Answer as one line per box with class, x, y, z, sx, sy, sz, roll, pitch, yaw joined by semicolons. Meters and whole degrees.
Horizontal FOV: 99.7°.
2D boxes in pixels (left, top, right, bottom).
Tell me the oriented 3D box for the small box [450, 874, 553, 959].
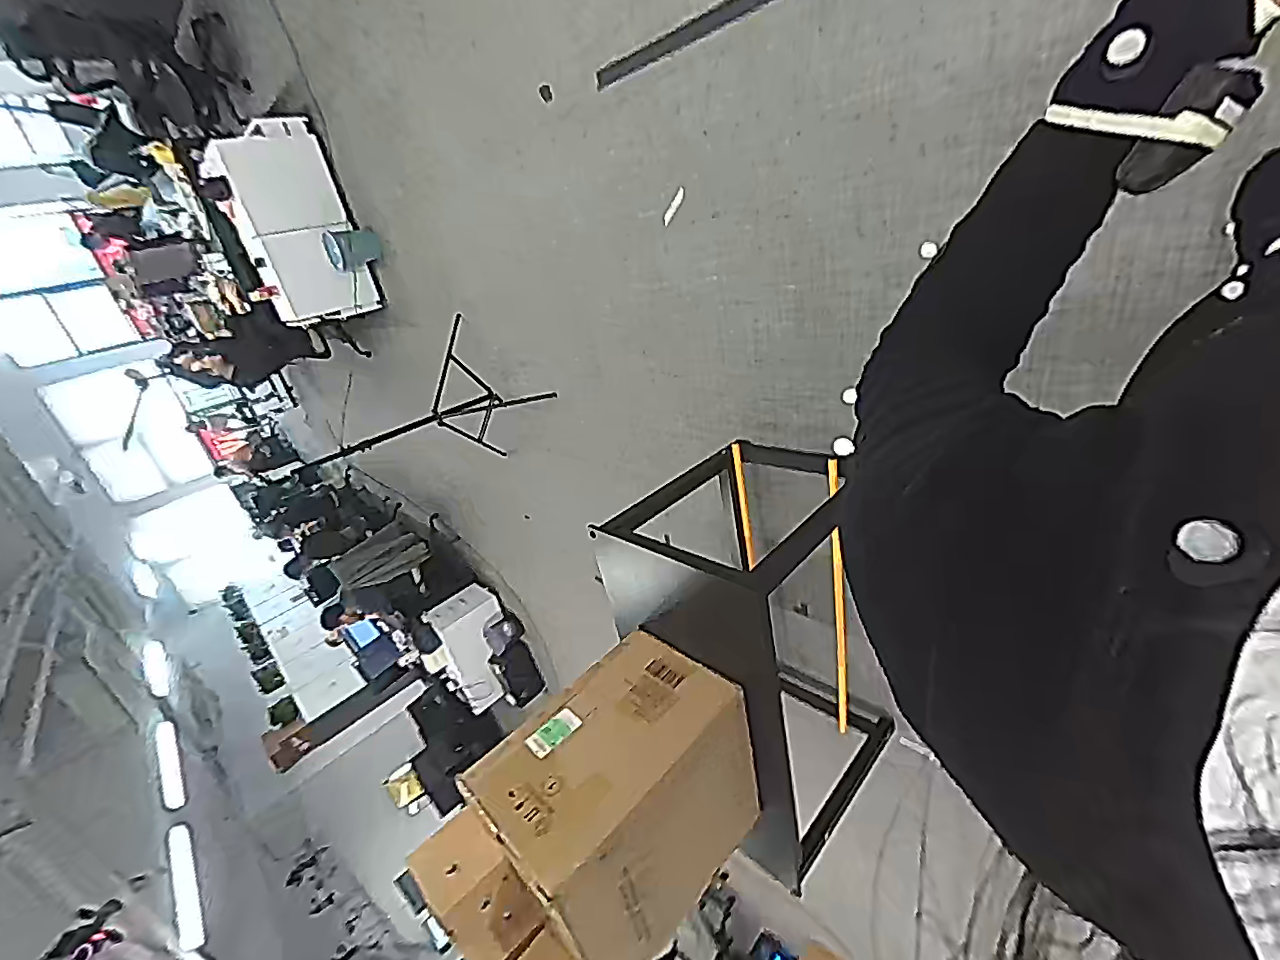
small box;-0.337;1.144;1.339;0.168;0.176;0.179;16;126;45
